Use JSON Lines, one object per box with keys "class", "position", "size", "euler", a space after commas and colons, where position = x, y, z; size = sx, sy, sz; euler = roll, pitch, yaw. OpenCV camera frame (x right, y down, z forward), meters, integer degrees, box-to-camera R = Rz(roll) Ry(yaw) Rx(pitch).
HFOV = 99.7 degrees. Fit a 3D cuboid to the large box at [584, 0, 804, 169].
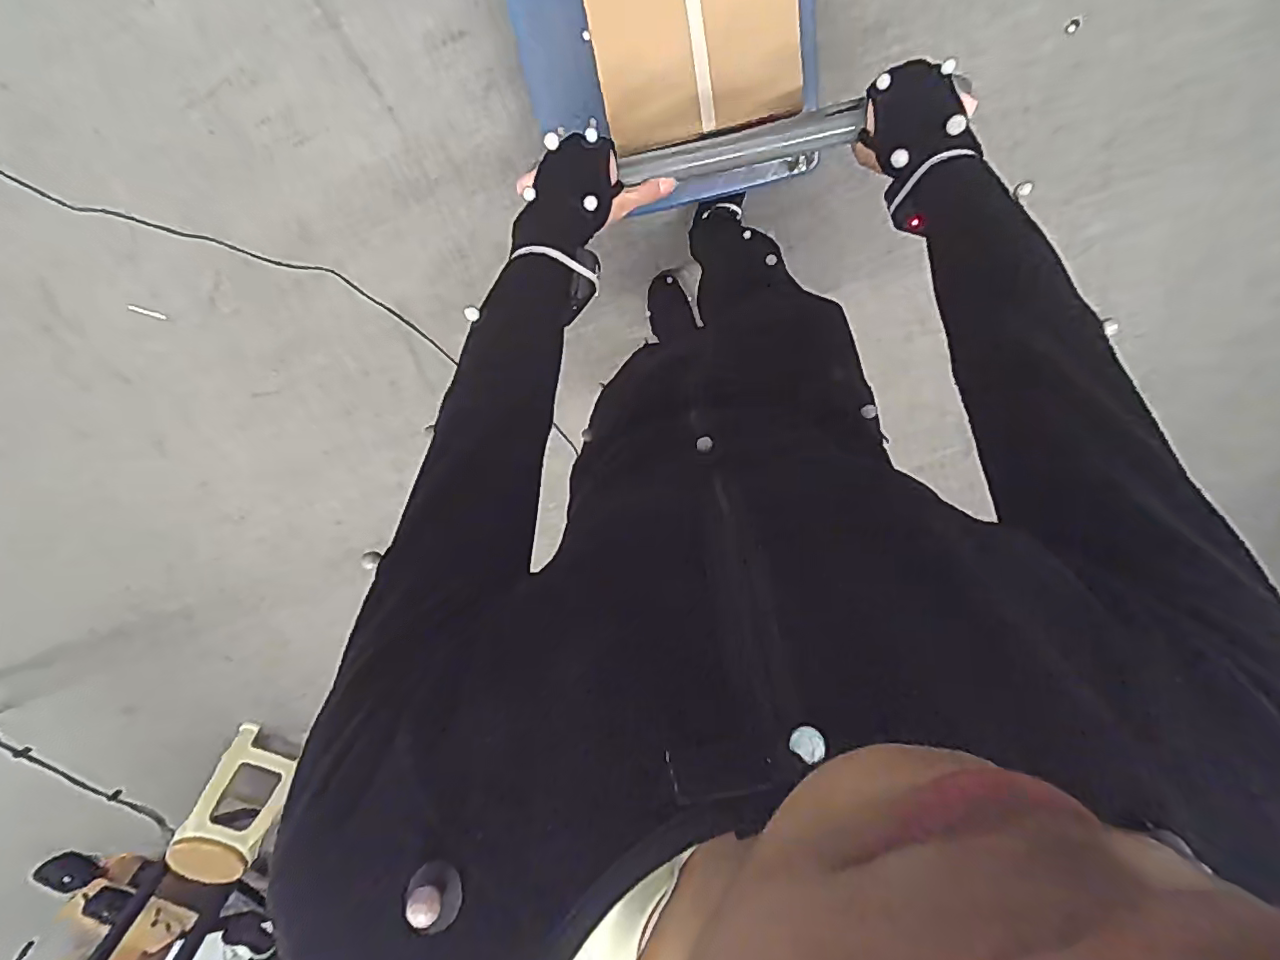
{"class": "large box", "position": [0.073, -0.800, 0.927], "size": [0.320, 0.320, 0.408], "euler": [-11, 117, 5]}
